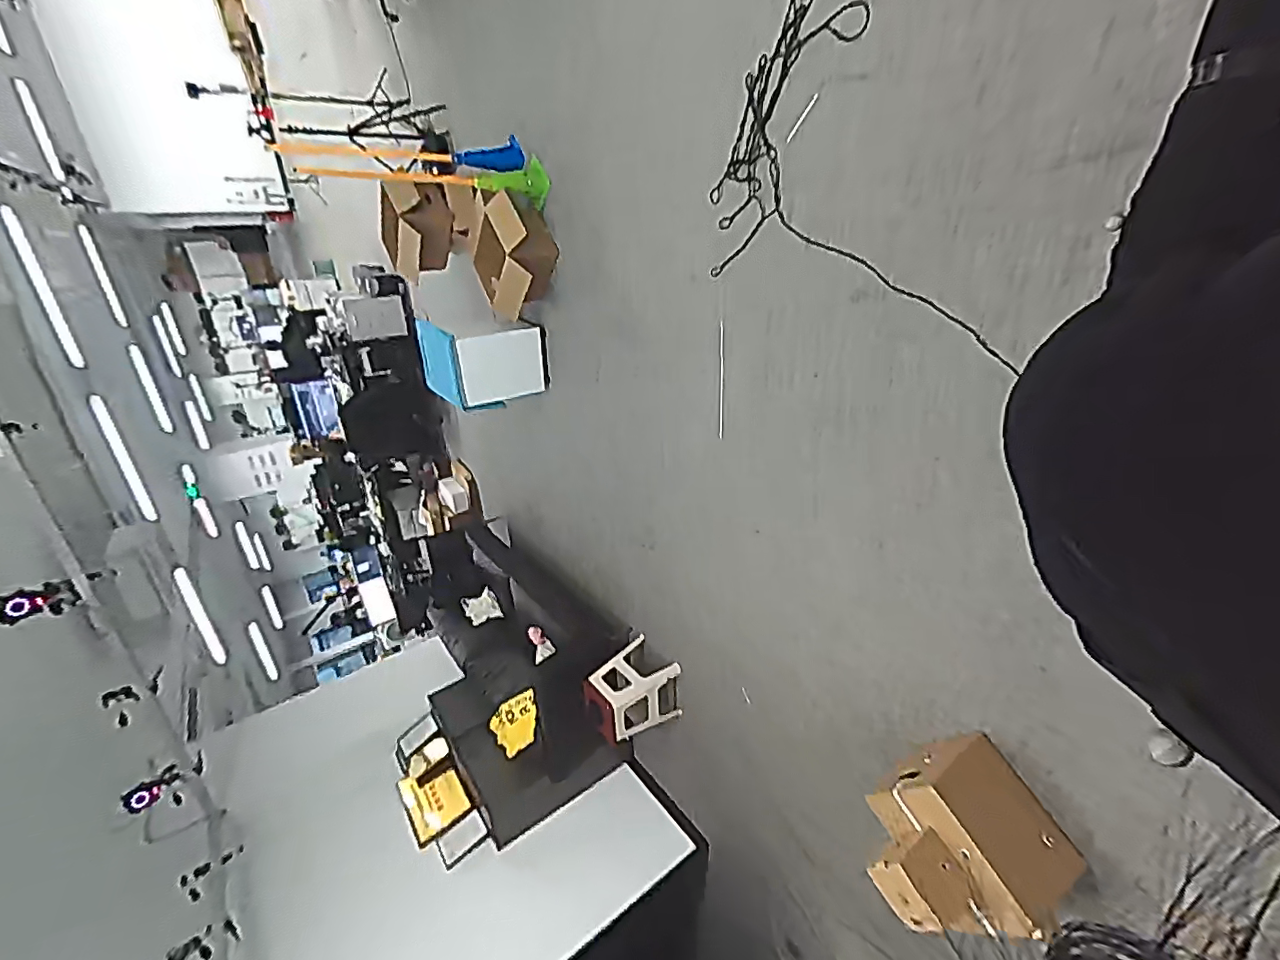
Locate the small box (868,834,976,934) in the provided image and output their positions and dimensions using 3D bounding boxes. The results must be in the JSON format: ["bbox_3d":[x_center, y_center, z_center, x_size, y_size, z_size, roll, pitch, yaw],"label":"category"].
[{"bbox_3d":[0.804,1.145,1.544,0.179,0.176,0.168,54,146,26],"label":"small box"}]
